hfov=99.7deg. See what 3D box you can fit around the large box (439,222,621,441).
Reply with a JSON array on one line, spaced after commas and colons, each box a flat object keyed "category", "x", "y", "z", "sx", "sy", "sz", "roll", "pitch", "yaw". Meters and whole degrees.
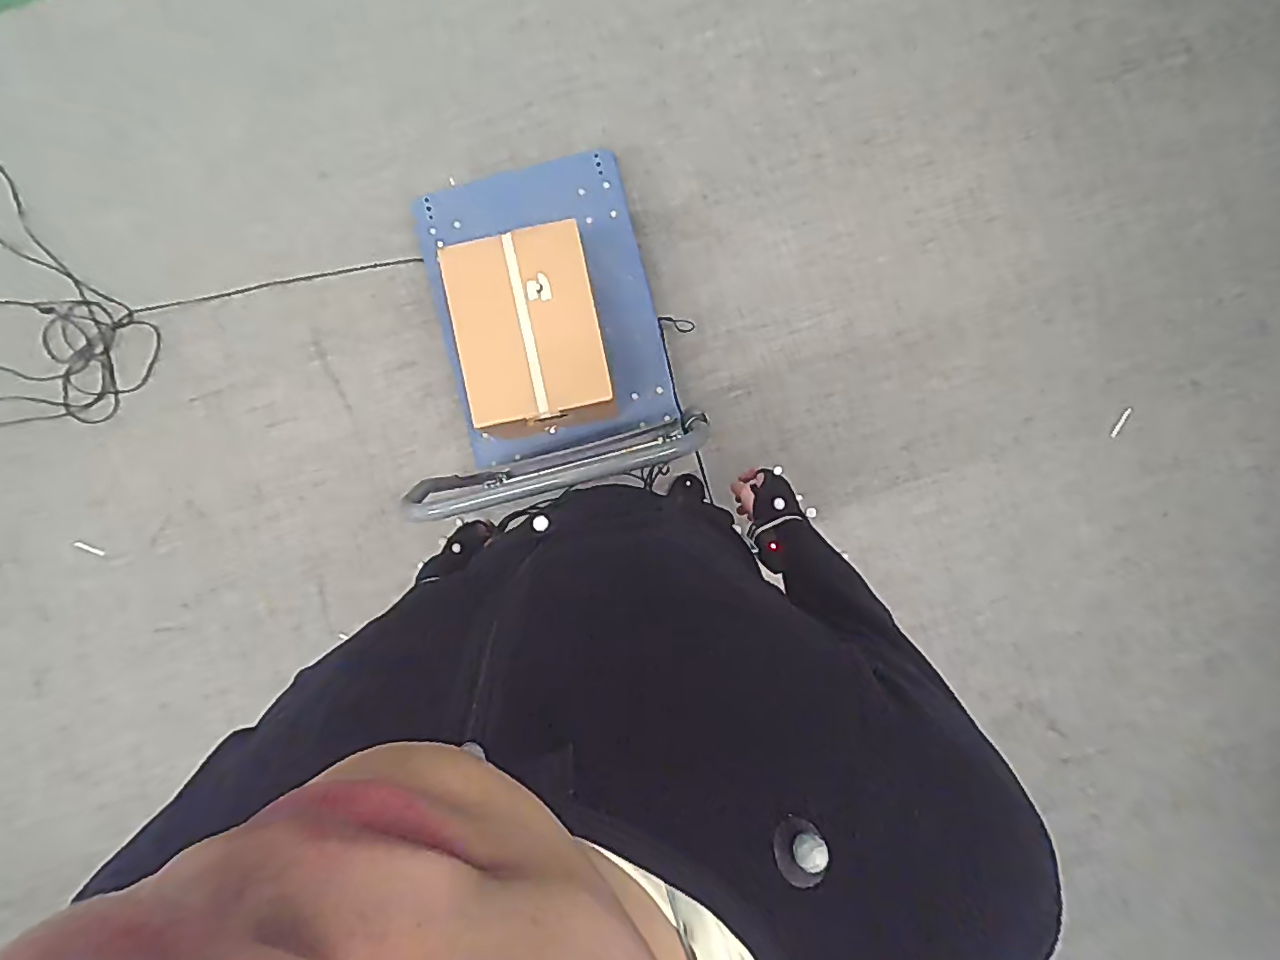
[{"category": "large box", "x": -0.242, "y": -0.331, "z": 1.311, "sx": 0.320, "sy": 0.320, "sz": 0.408, "roll": -12, "pitch": 89, "yaw": 0}]
